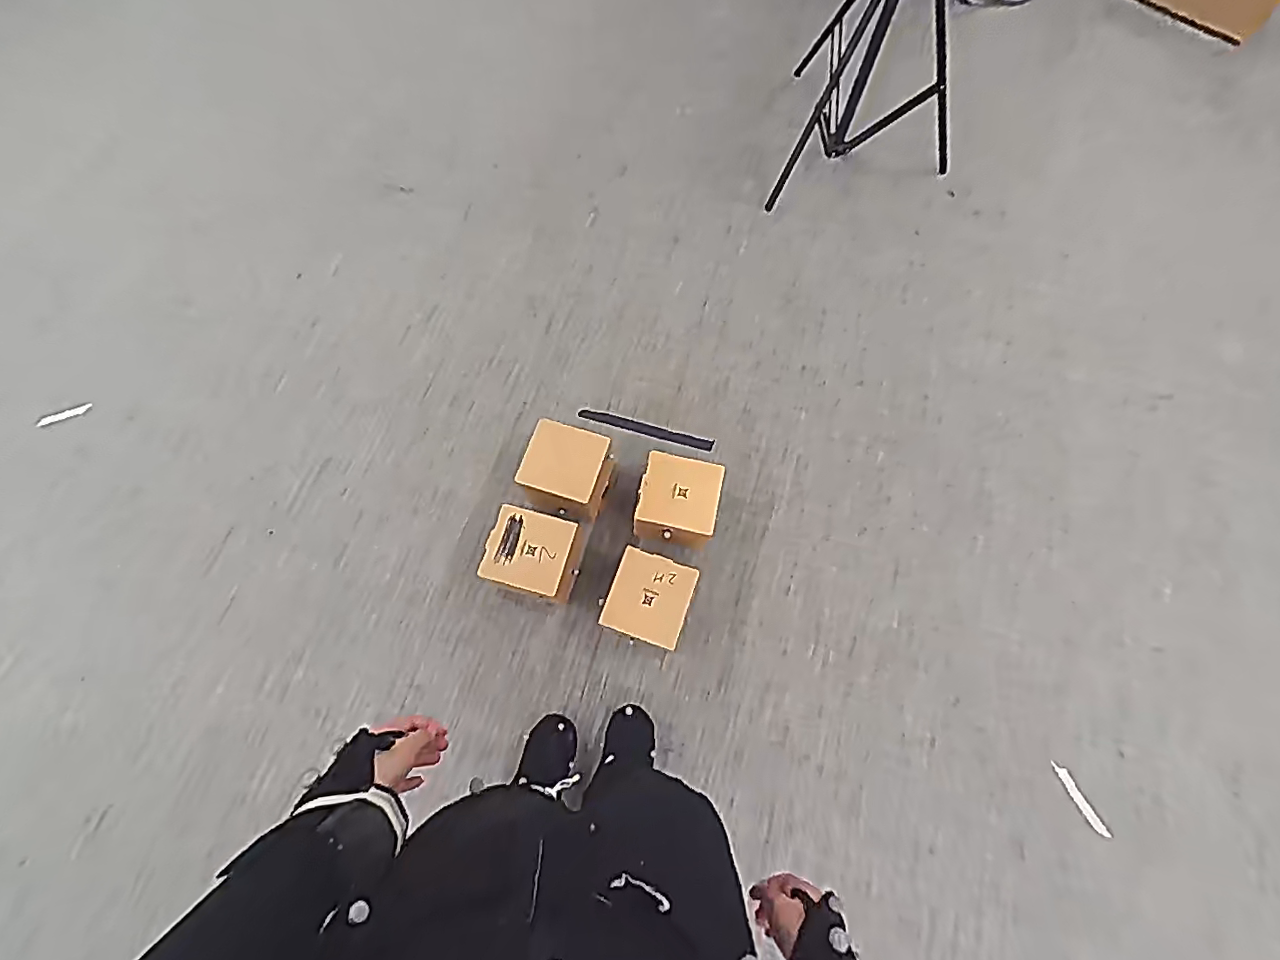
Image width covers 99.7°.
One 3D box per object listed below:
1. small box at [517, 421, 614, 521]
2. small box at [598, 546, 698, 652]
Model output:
[{"bbox_3d":[-0.172,-0.018,1.291,0.179,0.176,0.168,17,72,5],"label":"small box"},{"bbox_3d":[0.018,0.269,1.197,0.168,0.176,0.179,19,72,5],"label":"small box"}]
